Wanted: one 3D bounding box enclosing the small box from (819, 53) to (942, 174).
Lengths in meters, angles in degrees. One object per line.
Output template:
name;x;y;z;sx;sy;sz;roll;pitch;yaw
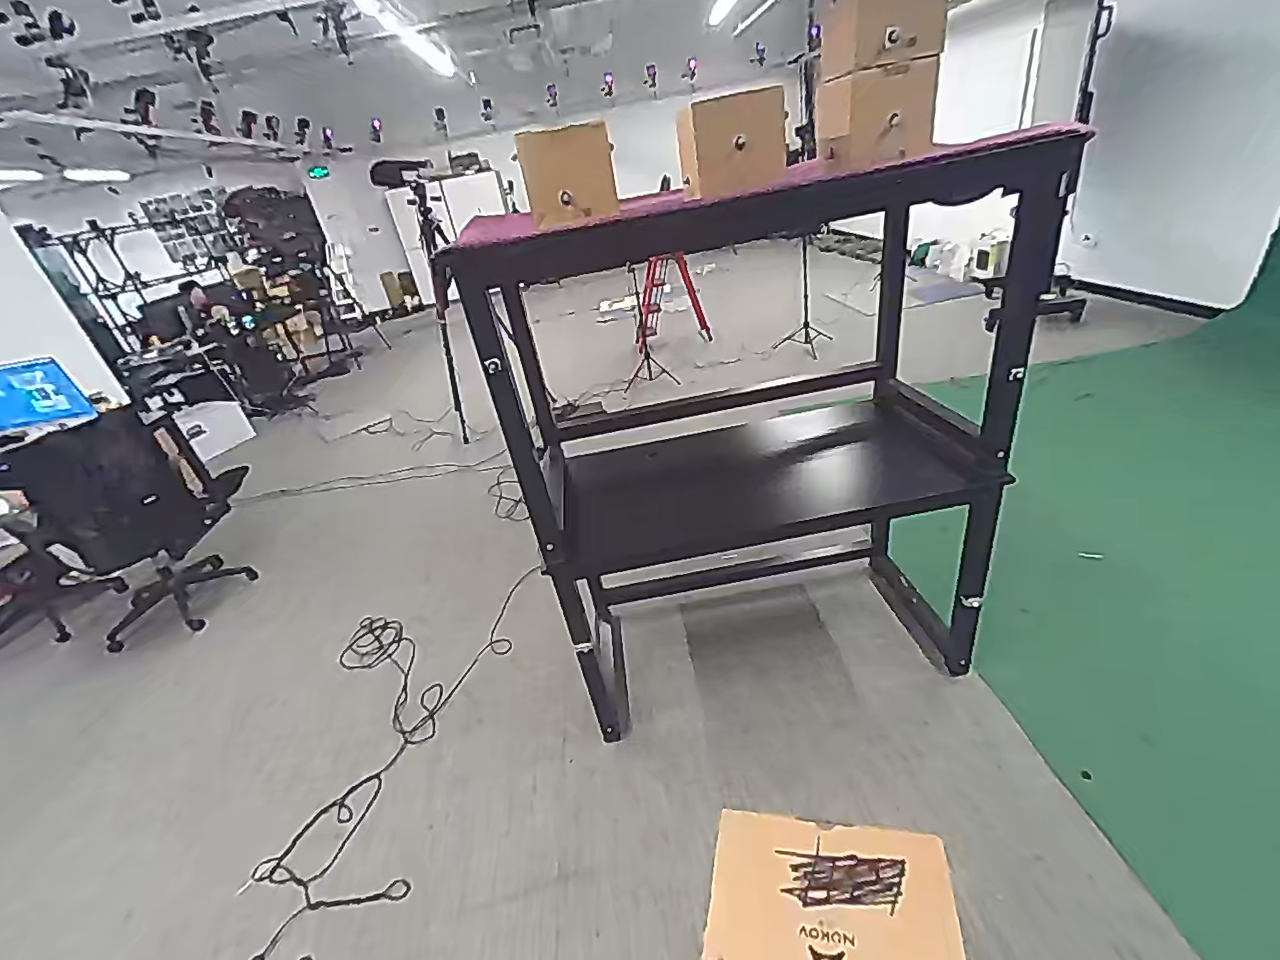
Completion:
small box;0.468;-0.718;1.077;0.168;0.176;0.179;-11;31;1

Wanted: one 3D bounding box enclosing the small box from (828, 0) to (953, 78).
small box;0.451;-0.858;0.994;0.168;0.176;0.179;-10;31;4

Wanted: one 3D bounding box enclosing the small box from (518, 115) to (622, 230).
small box;-0.135;-0.594;1.059;0.168;0.176;0.179;-12;29;-4
